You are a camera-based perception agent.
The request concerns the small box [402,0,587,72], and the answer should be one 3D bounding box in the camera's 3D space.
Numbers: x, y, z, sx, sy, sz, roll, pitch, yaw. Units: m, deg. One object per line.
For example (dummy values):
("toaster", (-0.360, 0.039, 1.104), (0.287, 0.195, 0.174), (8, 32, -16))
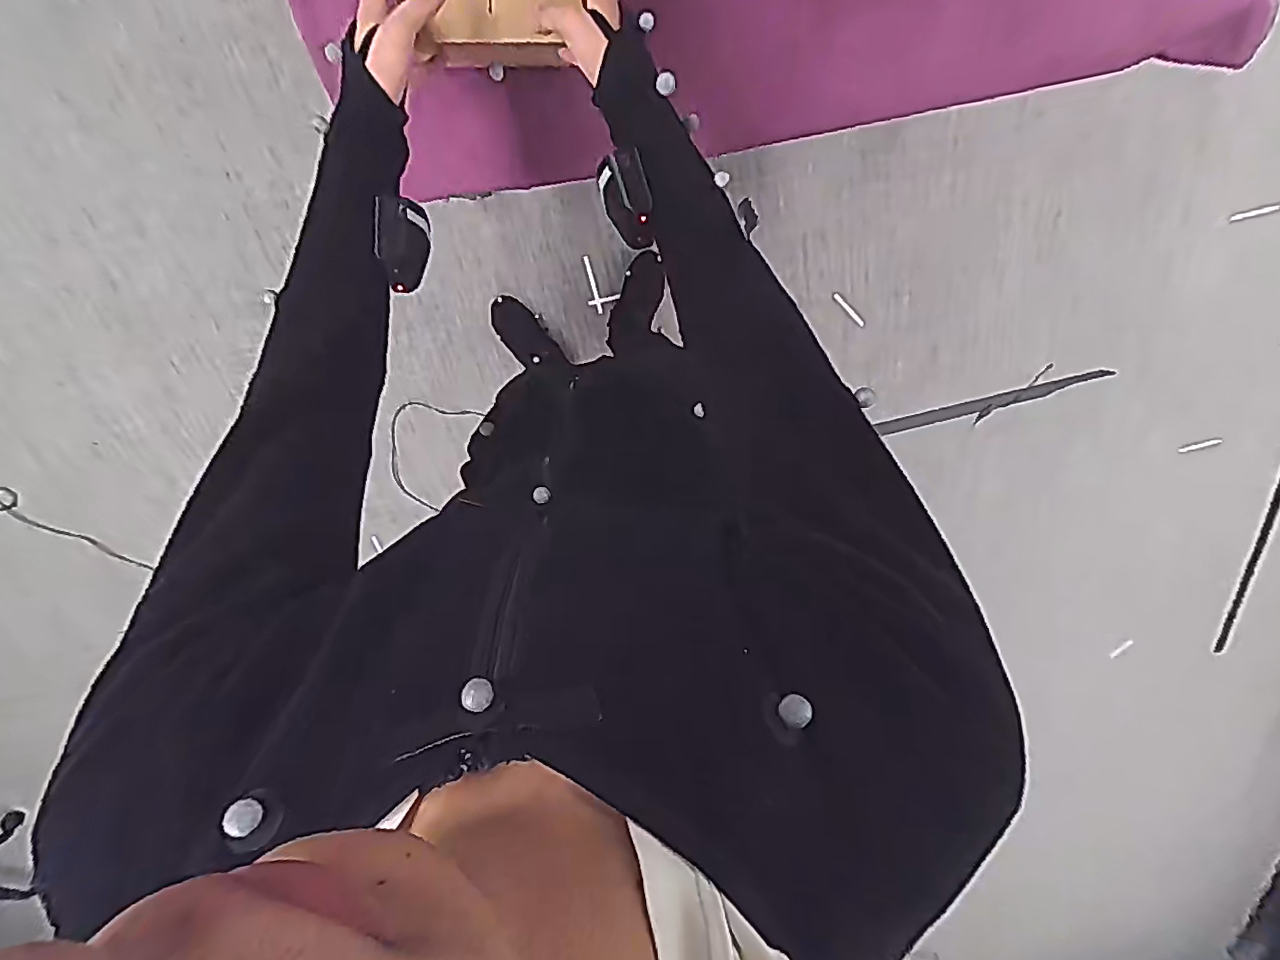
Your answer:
("small box", (-0.146, -0.519, 0.525), (0.168, 0.176, 0.179), (-7, 122, -9))
